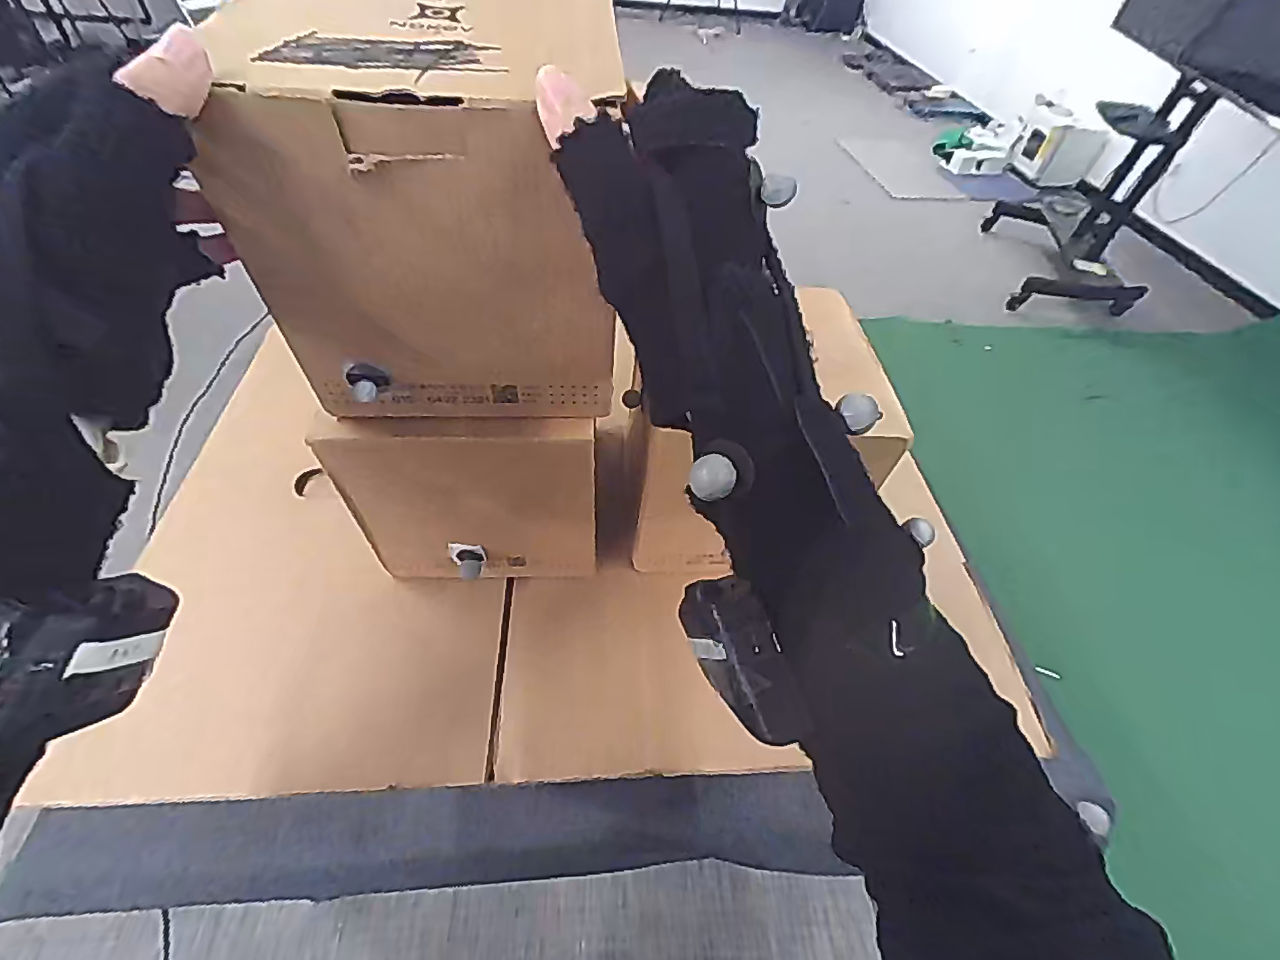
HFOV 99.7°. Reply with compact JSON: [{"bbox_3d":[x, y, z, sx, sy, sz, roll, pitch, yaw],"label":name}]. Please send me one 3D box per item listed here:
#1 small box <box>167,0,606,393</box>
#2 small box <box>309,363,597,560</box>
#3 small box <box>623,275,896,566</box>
[{"bbox_3d":[-0.103,-0.160,0.316,0.168,0.176,0.179,-1,53,-6],"label":"small box"},{"bbox_3d":[-0.119,-0.054,0.427,0.168,0.176,0.179,-1,52,-5],"label":"small box"},{"bbox_3d":[0.075,-0.047,0.458,0.168,0.176,0.179,2,49,-6],"label":"small box"}]
